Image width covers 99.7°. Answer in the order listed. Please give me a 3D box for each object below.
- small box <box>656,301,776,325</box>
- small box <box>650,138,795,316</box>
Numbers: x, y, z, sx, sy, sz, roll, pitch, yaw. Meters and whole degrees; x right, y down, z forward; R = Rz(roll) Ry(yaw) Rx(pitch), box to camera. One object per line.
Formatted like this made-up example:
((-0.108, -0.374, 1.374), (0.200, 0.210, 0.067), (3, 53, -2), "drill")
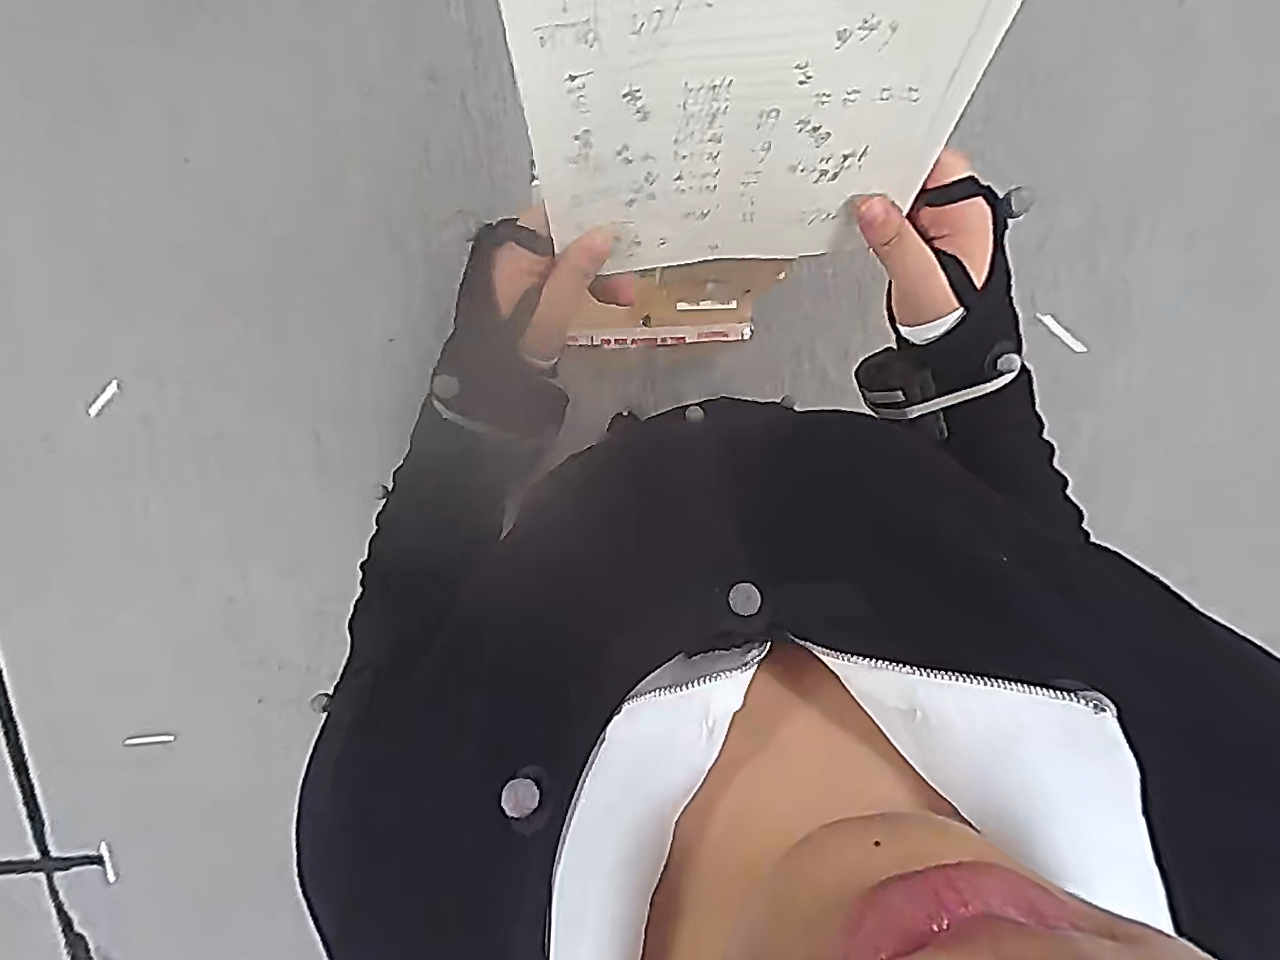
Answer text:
((0.116, -0.353, 0.892), (0.179, 0.176, 0.168), (-3, 98, 0), "small box")
((0.100, -0.327, 0.729), (0.168, 0.176, 0.179), (0, 99, -2), "small box")
